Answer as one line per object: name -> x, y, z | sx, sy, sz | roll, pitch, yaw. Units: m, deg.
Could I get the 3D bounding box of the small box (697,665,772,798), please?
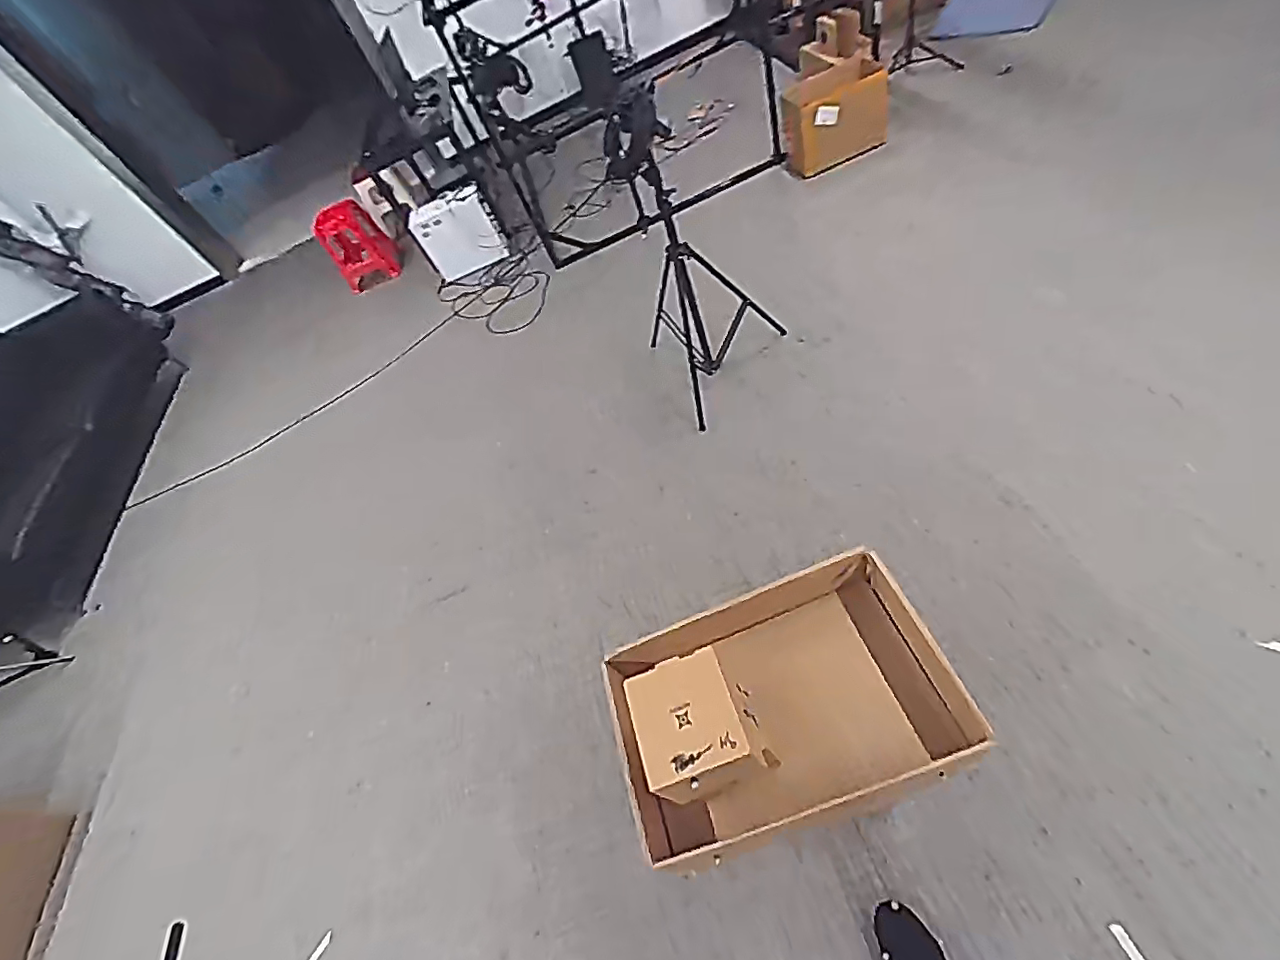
small box -> 0.142, 0.490, 1.048 | 0.179, 0.176, 0.168 | -28, 49, 3

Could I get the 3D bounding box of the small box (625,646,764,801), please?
small box -> 0.092, 0.413, 0.912 | 0.168, 0.176, 0.179 | -24, 49, 6
